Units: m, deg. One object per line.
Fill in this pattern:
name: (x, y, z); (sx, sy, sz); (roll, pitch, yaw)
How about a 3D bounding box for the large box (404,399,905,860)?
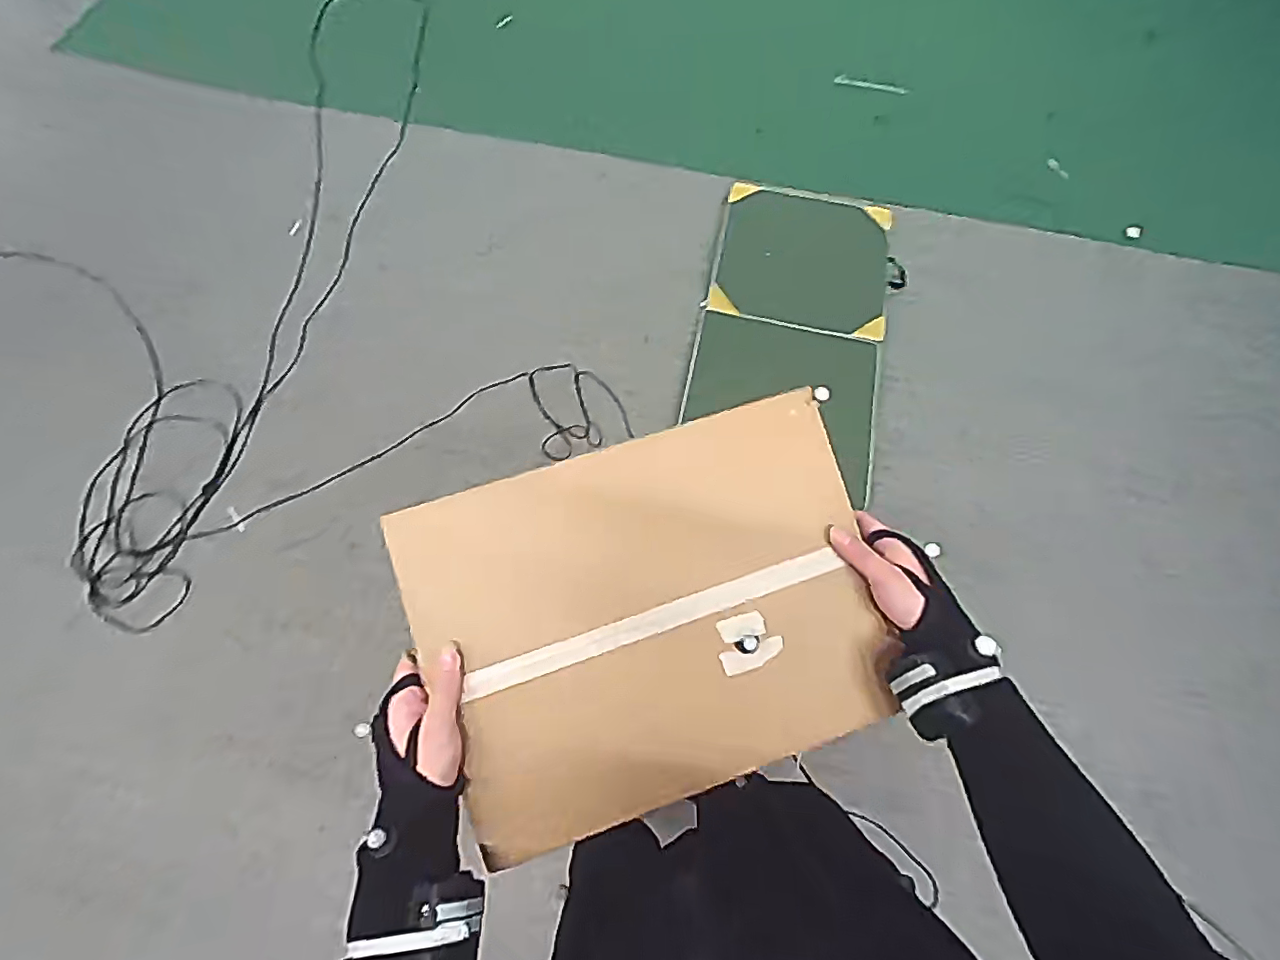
large box: (0.004, 0.138, 0.641); (0.408, 0.320, 0.320); (-17, 88, -8)
